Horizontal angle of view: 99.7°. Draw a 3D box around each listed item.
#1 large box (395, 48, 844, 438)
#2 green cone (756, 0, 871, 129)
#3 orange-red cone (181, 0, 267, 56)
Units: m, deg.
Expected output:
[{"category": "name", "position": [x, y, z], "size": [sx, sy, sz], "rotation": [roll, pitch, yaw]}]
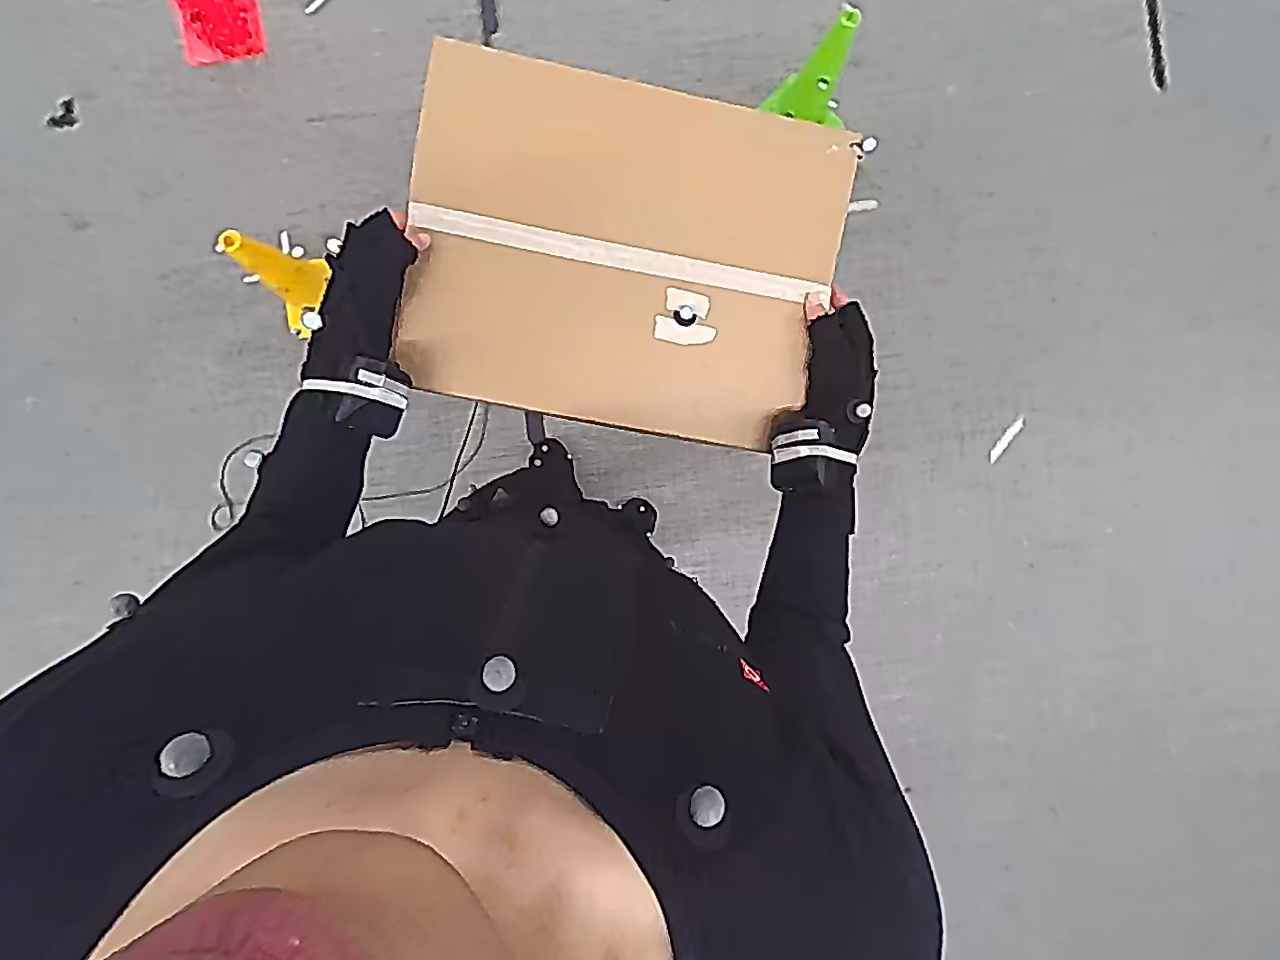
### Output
[{"category": "large box", "position": [-0.030, -0.232, 0.667], "size": [0.408, 0.320, 0.320], "rotation": [9, 95, -5]}, {"category": "green cone", "position": [0.445, -0.976, 1.293], "size": [0.202, 0.368, 0.200], "rotation": [-44, 94, -2]}, {"category": "orange-red cone", "position": [-1.075, -1.201, 1.232], "size": [0.198, 0.360, 0.199], "rotation": [-9, 94, -1]}]
